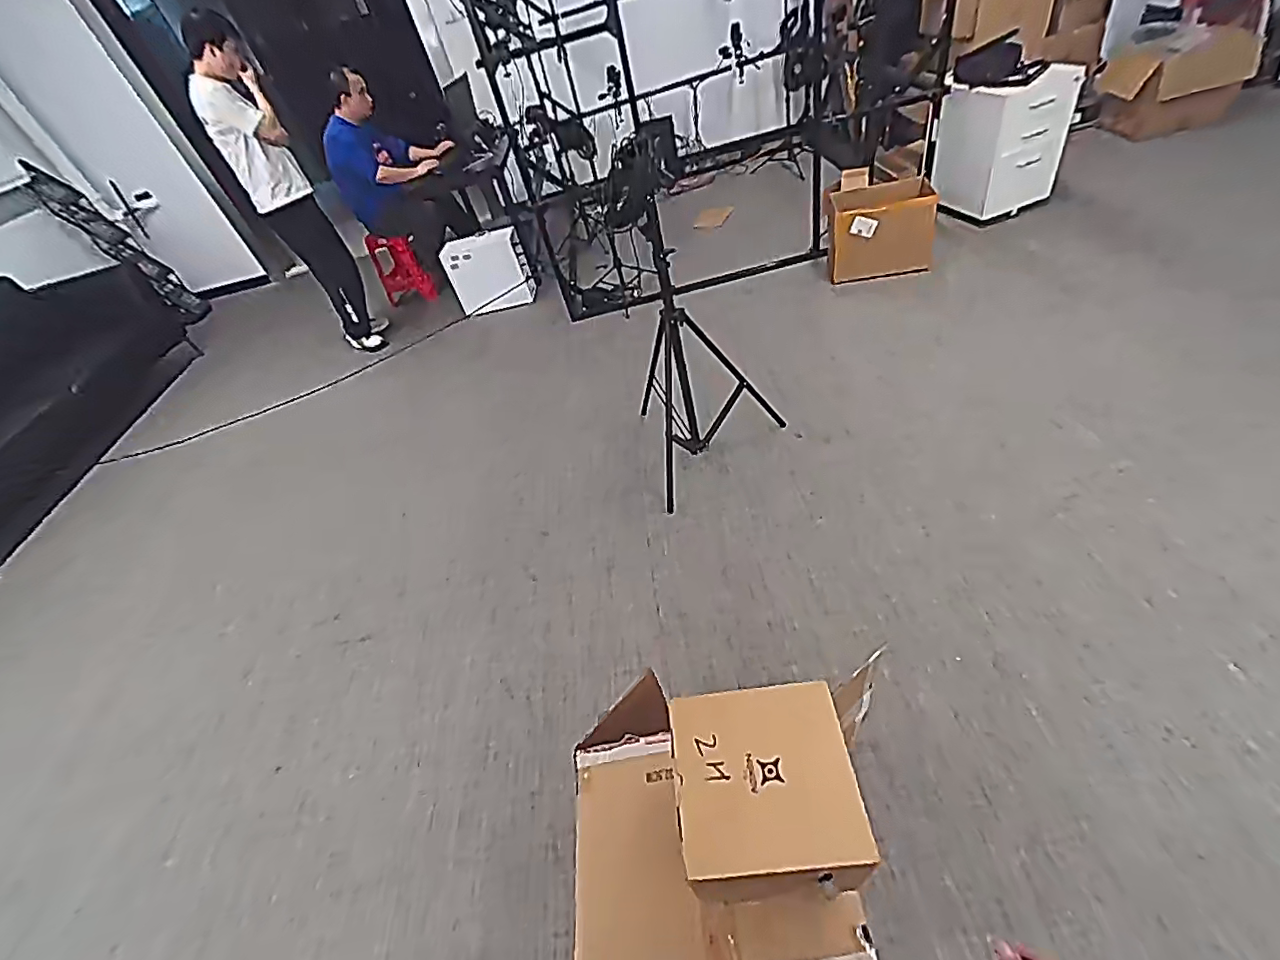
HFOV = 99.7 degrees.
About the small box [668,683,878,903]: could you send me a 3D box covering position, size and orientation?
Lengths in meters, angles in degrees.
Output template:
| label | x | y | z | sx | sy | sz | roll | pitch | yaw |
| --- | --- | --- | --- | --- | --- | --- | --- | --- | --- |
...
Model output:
| label | x | y | z | sx | sy | sz | roll | pitch | yaw |
| --- | --- | --- | --- | --- | --- | --- | --- | --- | --- |
| small box | 0.133 | 0.341 | 0.586 | 0.179 | 0.176 | 0.168 | -10 | 45 | 6 |
